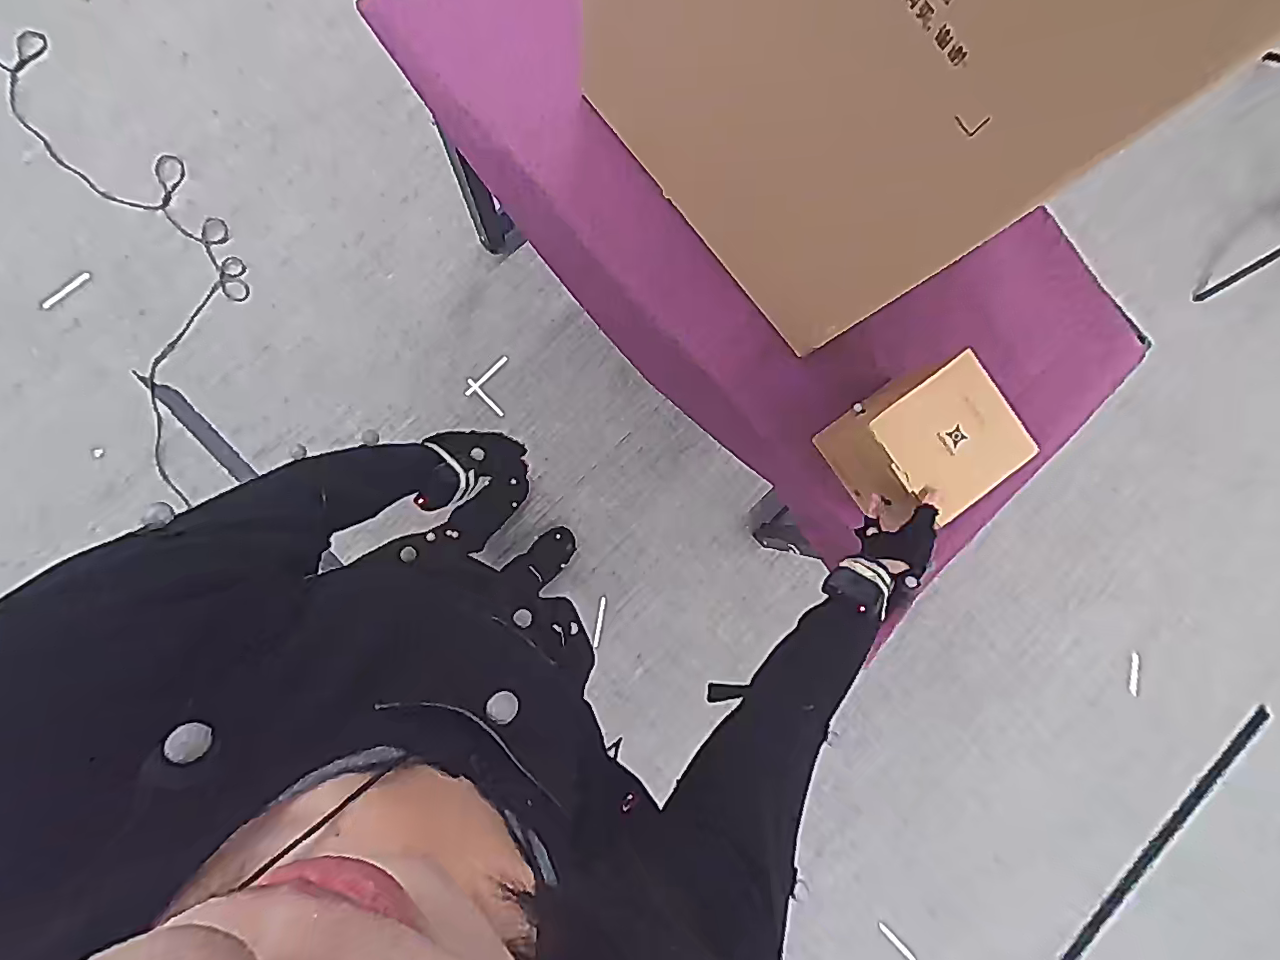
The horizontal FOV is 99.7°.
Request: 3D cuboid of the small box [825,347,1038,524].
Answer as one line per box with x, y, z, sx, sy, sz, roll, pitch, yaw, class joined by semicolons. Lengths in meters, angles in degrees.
0.390;-0.054;0.764;0.179;0.176;0.168;-36;92;-7;small box
